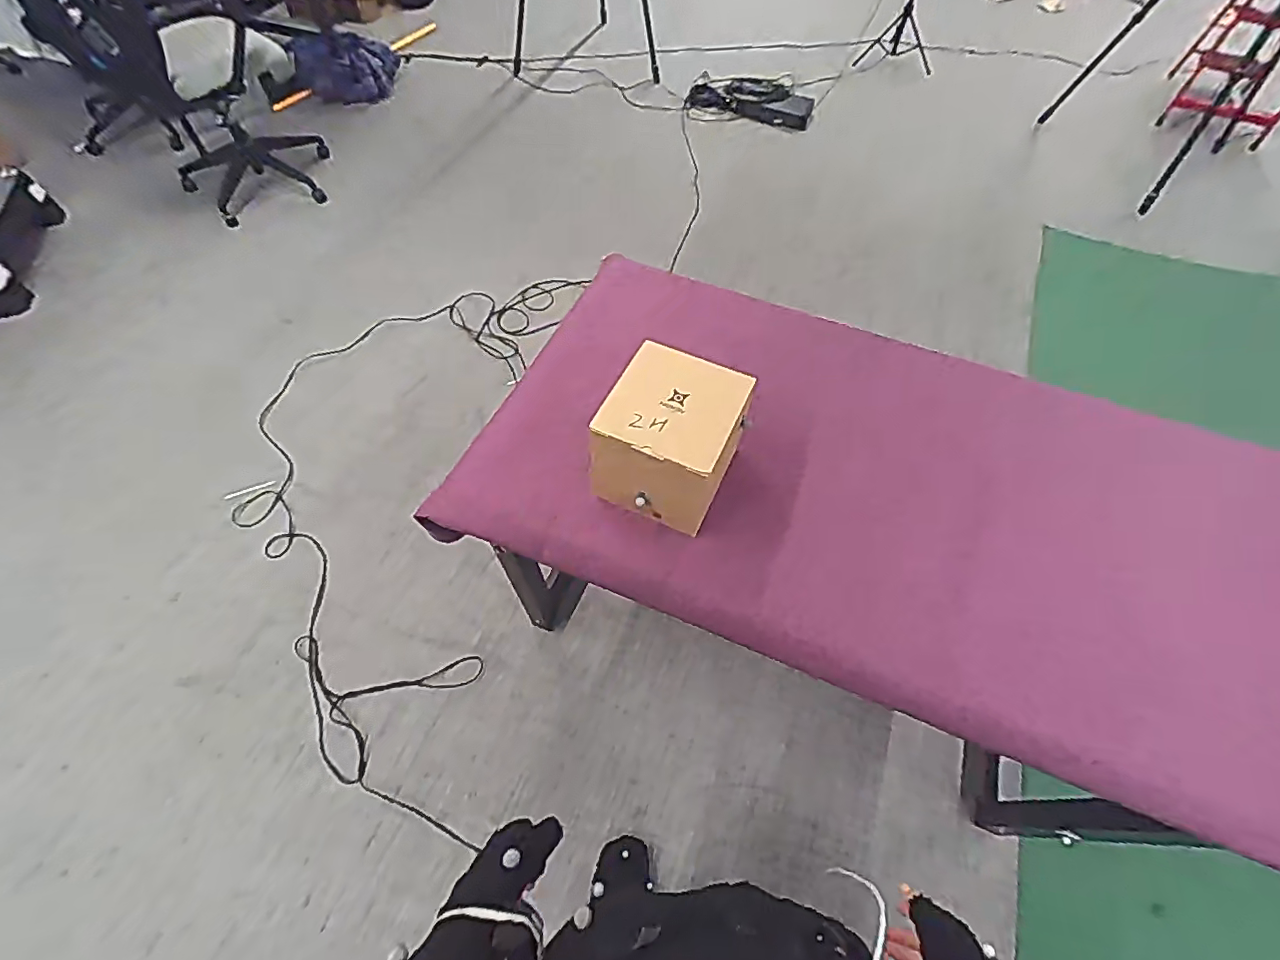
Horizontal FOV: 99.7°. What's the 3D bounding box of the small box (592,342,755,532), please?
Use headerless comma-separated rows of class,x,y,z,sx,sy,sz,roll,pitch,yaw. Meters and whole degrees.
small box,0.043,-0.057,0.772,0.168,0.176,0.179,24,61,12
